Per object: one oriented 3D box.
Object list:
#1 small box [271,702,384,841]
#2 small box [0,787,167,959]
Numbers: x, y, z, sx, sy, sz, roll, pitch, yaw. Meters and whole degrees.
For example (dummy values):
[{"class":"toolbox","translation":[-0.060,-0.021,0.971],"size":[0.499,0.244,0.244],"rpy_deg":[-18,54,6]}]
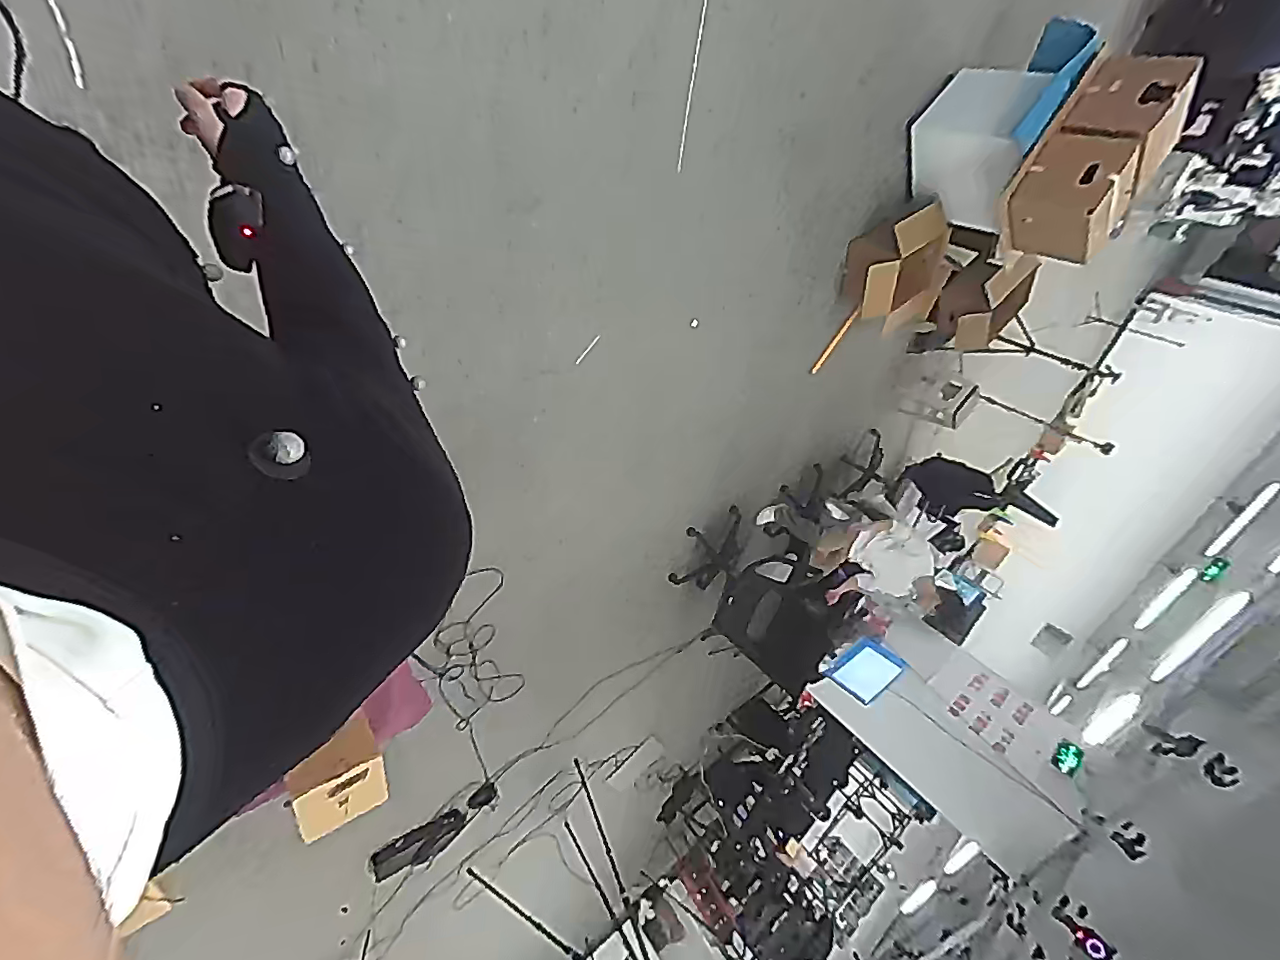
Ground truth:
[{"class":"small box","translation":[-0.664,0.607,1.154],"size":[0.168,0.176,0.179],"rpy_deg":[-16,131,-37]},{"class":"small box","translation":[-0.941,0.670,0.919],"size":[0.168,0.176,0.179],"rpy_deg":[-19,133,-37]}]
